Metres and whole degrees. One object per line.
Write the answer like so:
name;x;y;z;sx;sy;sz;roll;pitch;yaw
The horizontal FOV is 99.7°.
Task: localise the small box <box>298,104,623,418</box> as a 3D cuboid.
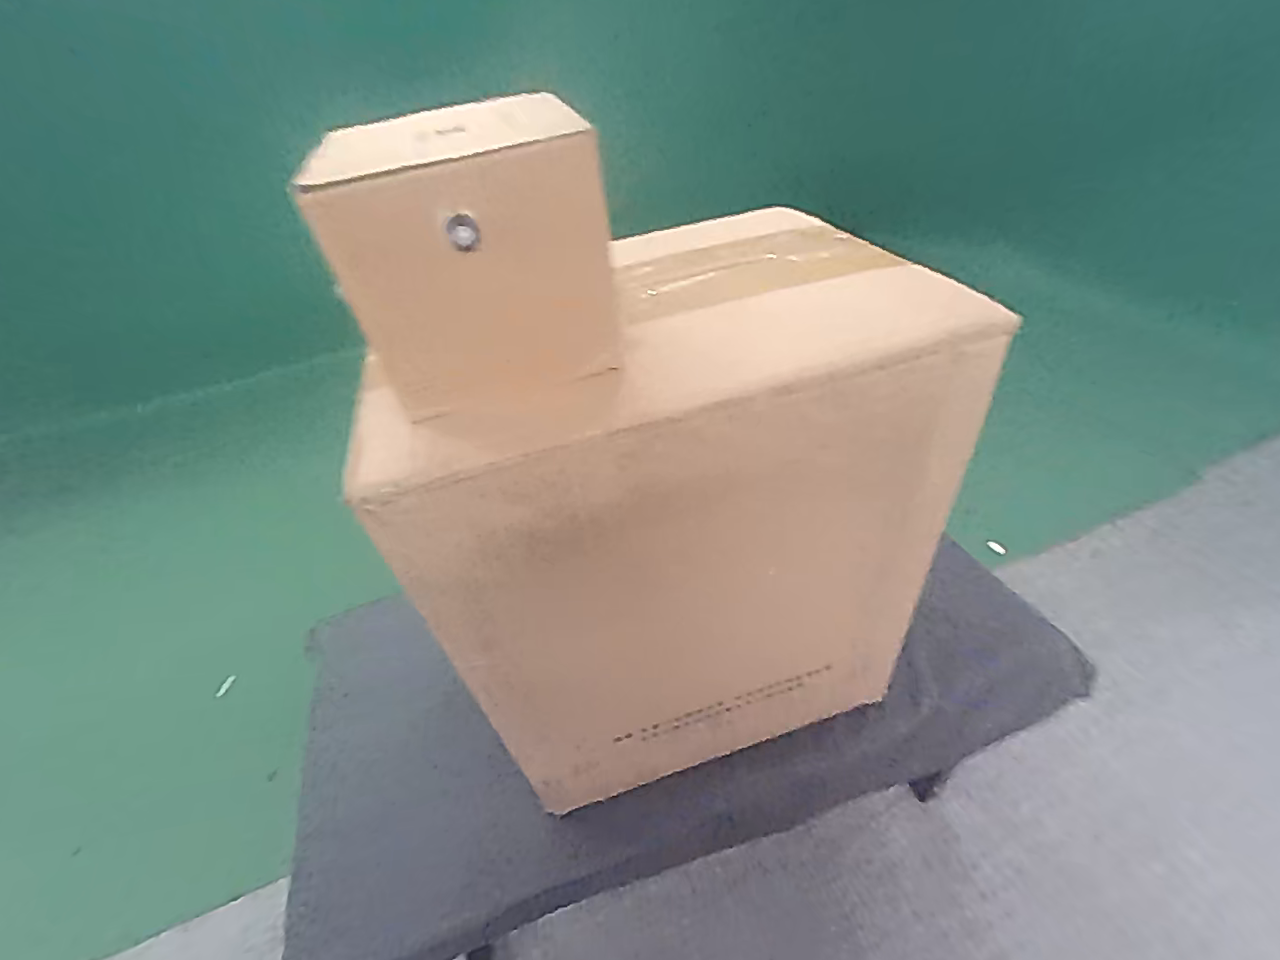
small box;-0.123;-0.170;0.422;0.179;0.176;0.168;-15;45;-9
